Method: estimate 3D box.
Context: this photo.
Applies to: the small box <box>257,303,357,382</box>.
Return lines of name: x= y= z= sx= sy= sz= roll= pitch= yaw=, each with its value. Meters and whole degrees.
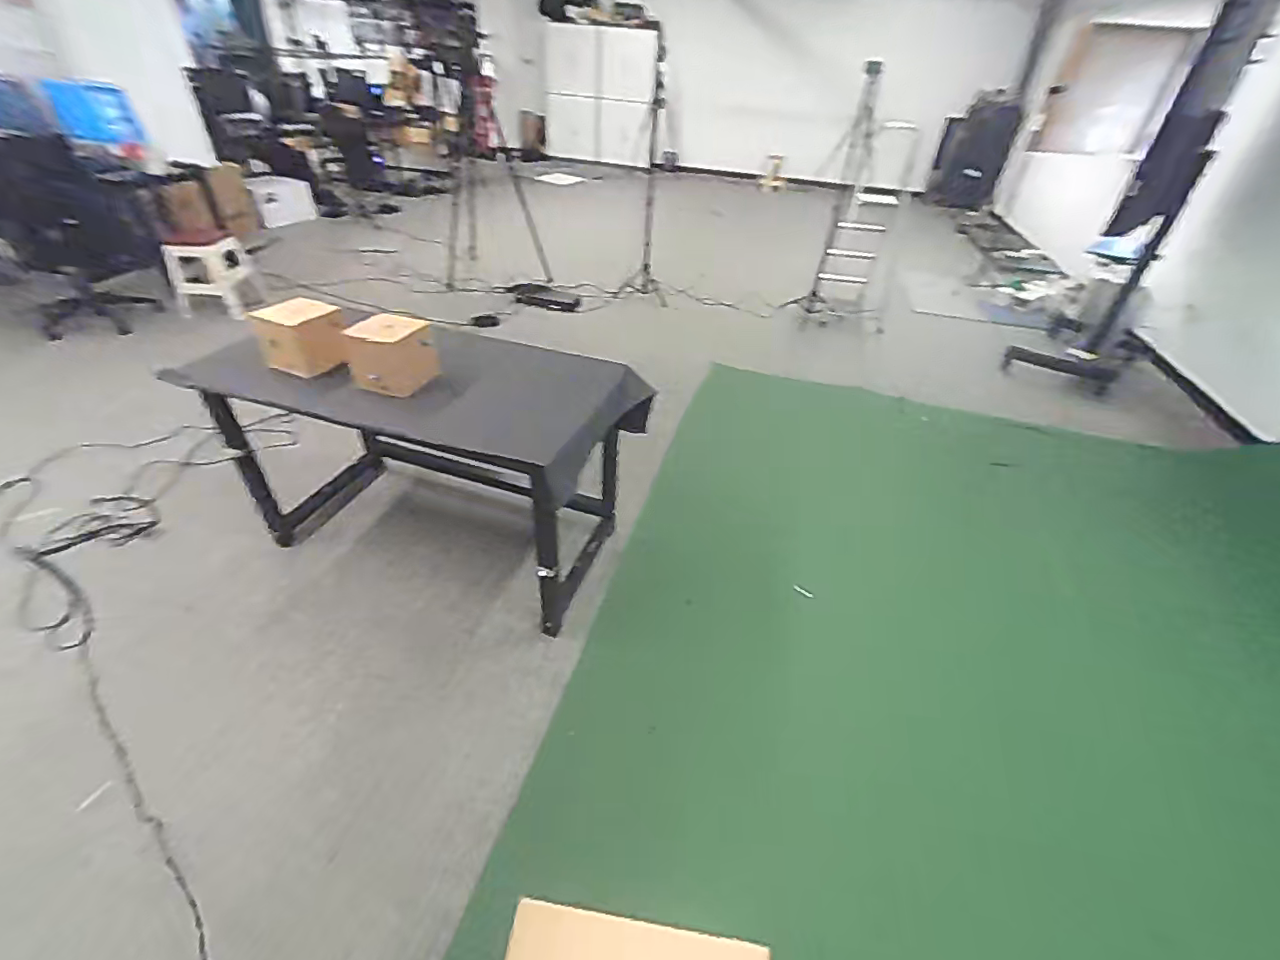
small box: x=-0.994 y=-0.414 z=1.633 sx=0.168 sy=0.176 sz=0.179 roll=17 pitch=38 yaw=16

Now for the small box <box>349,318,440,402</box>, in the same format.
small box: x=-0.704 y=-0.351 z=1.576 sx=0.168 sy=0.176 sz=0.179 roll=13 pitch=38 yaw=12
